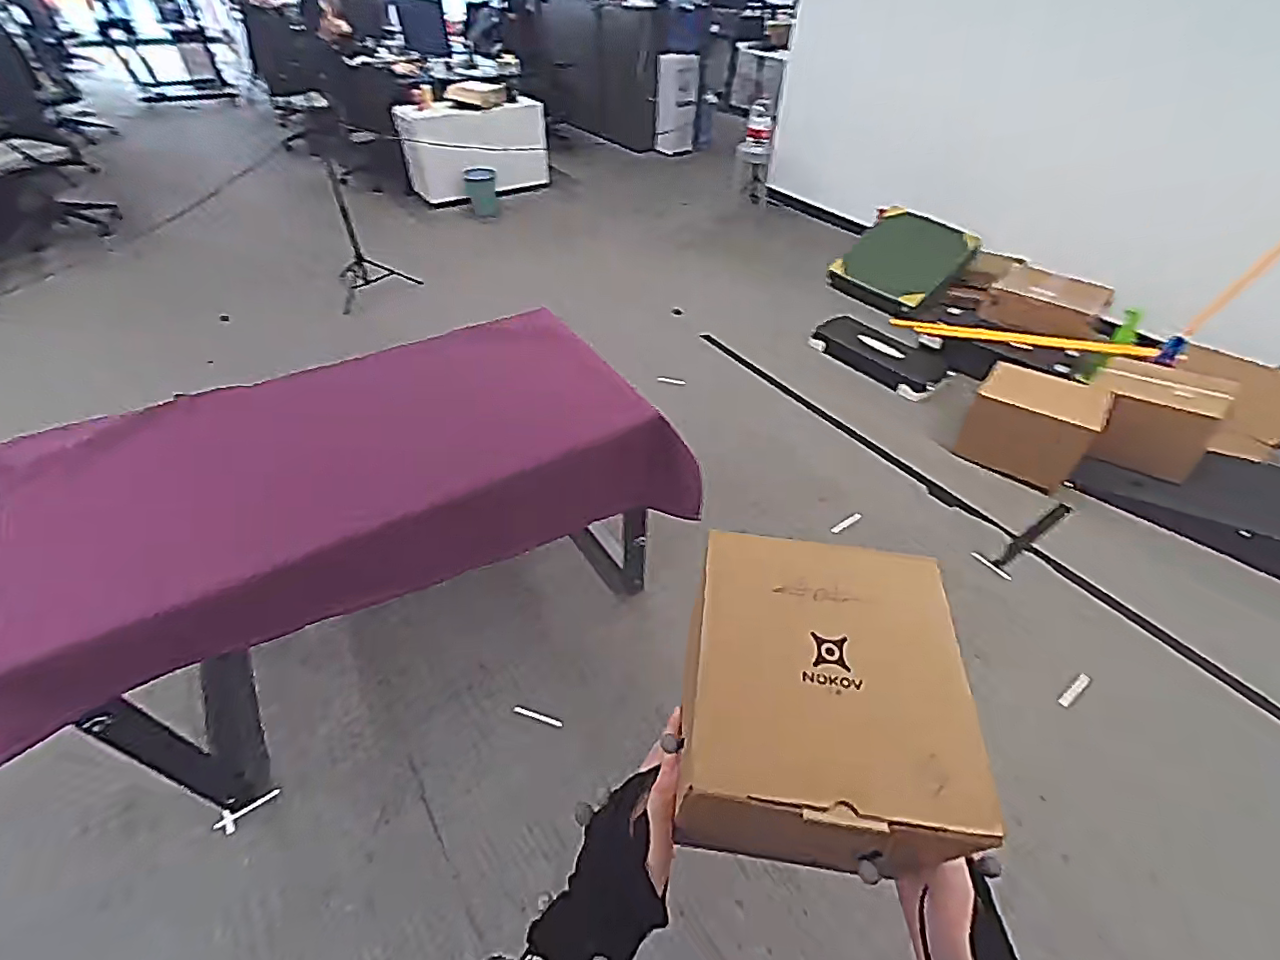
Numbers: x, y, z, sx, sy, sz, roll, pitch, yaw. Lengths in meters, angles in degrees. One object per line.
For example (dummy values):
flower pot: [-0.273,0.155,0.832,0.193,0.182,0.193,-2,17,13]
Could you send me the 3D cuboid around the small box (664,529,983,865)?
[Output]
small box: [0.109,0.163,0.399,0.168,0.176,0.179,7,49,4]
